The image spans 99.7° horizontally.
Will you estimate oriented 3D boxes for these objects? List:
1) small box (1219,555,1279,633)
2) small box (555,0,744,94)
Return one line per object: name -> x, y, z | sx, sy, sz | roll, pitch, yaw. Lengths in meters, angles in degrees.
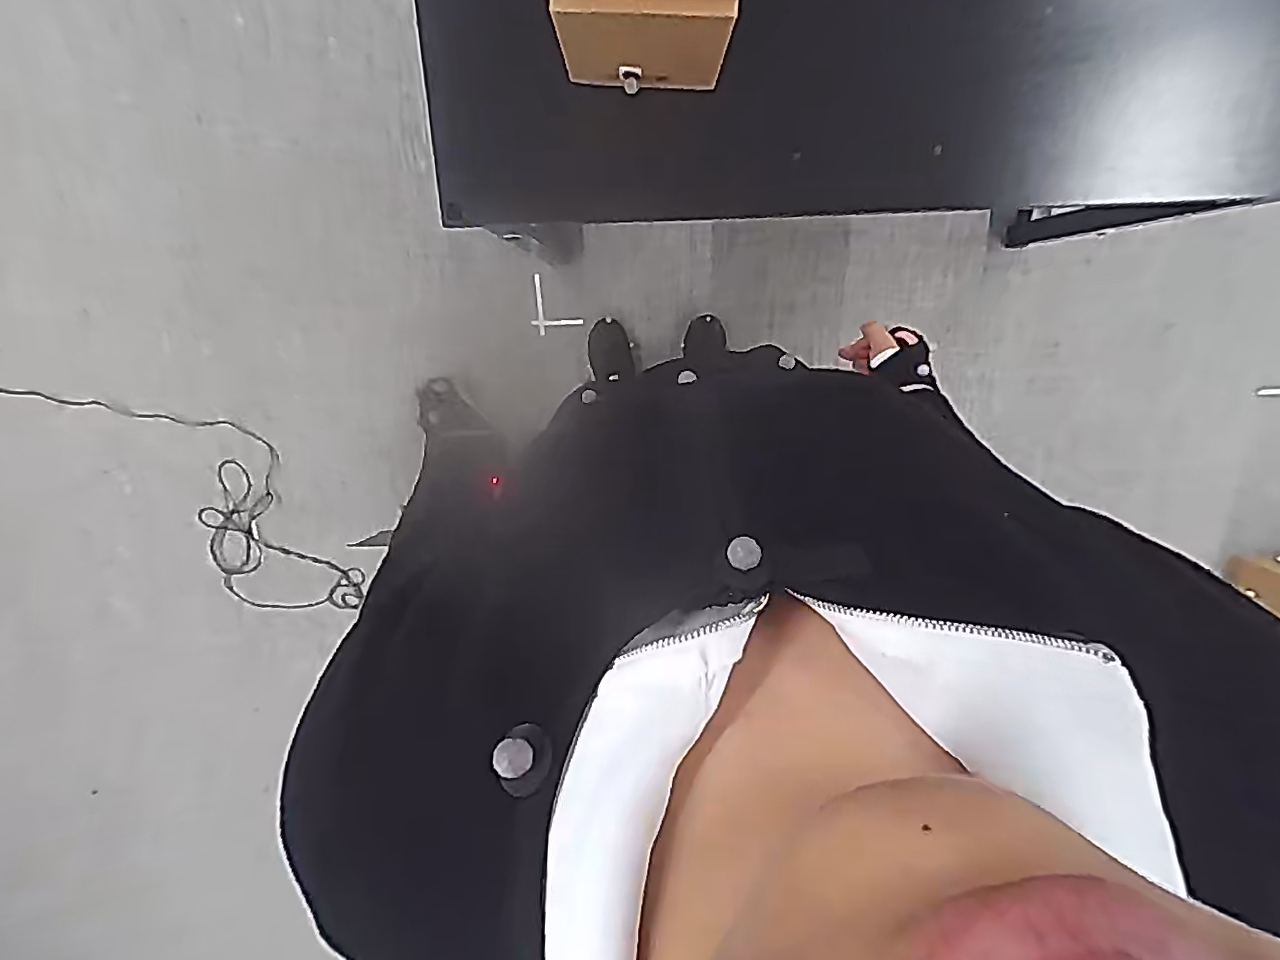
small box -> 1.835, 0.322, 1.540 | 0.179, 0.176, 0.168 | 1, 108, 1
small box -> 0.011, -0.508, 0.521 | 0.168, 0.176, 0.179 | 1, 108, 1
